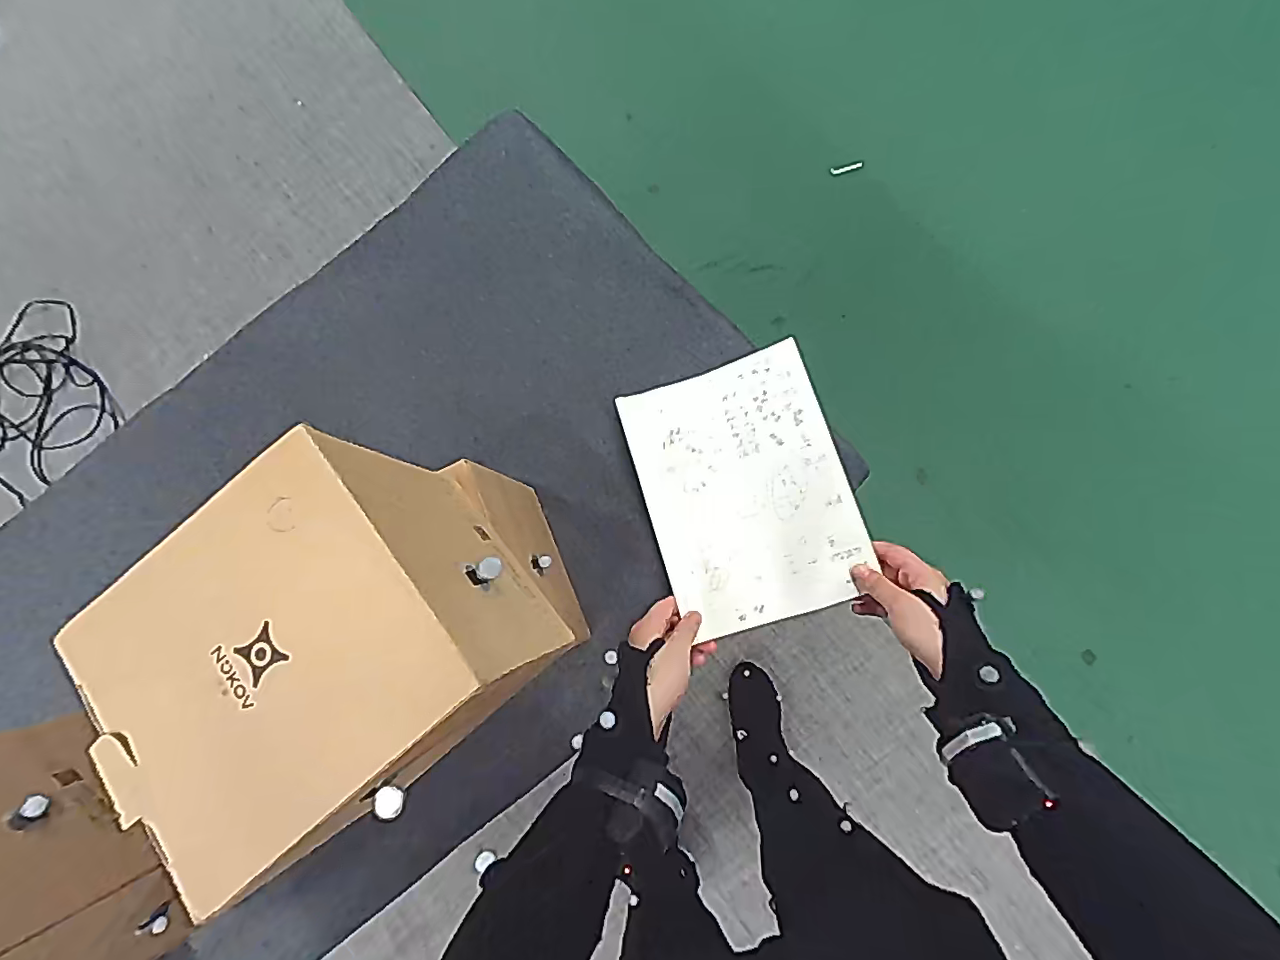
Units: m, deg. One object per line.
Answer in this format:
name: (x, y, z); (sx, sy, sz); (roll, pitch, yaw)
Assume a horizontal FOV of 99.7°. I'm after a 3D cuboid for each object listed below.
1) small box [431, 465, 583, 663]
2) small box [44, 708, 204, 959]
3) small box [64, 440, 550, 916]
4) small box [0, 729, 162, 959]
small box: (-0.172, 0.108, 0.511); (0.168, 0.176, 0.179); (-25, 80, 4)
small box: (-0.472, 0.329, 0.523); (0.168, 0.176, 0.179); (33, 88, 10)
small box: (-0.178, 0.102, 0.348); (0.179, 0.176, 0.168); (-41, 79, 1)
small box: (-0.491, 0.309, 0.361); (0.168, 0.176, 0.179); (36, 88, 10)
